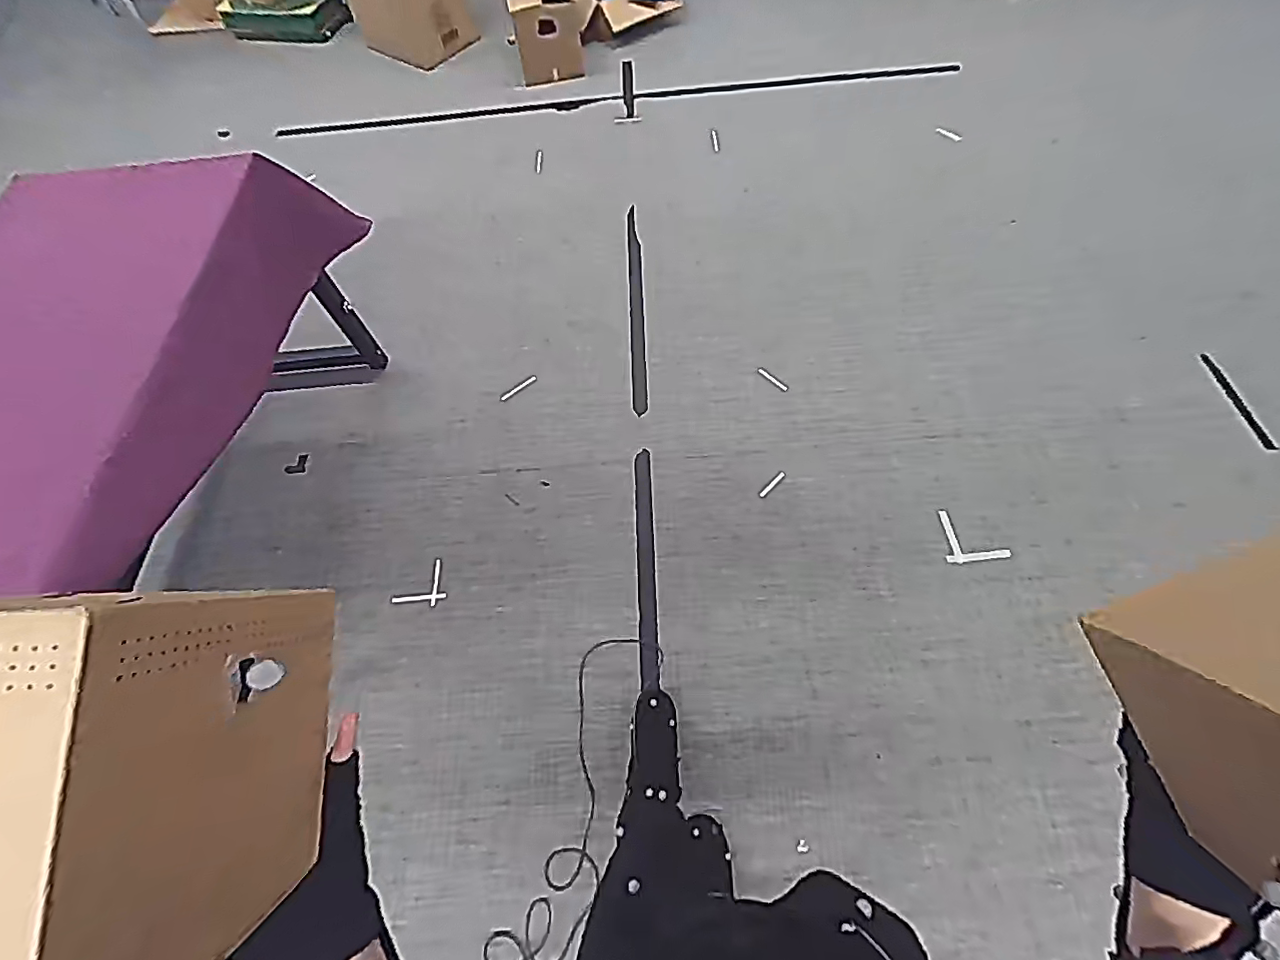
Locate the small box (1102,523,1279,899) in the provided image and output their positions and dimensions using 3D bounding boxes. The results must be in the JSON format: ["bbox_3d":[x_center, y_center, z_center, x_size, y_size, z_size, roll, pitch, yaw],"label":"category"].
[{"bbox_3d":[0.378,0.120,0.251,0.168,0.179,0.176,-26,87,11],"label":"small box"}]

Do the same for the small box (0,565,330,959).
[{"bbox_3d":[-0.271,0.128,0.249,0.168,0.179,0.176,0,80,-3],"label":"small box"}]
